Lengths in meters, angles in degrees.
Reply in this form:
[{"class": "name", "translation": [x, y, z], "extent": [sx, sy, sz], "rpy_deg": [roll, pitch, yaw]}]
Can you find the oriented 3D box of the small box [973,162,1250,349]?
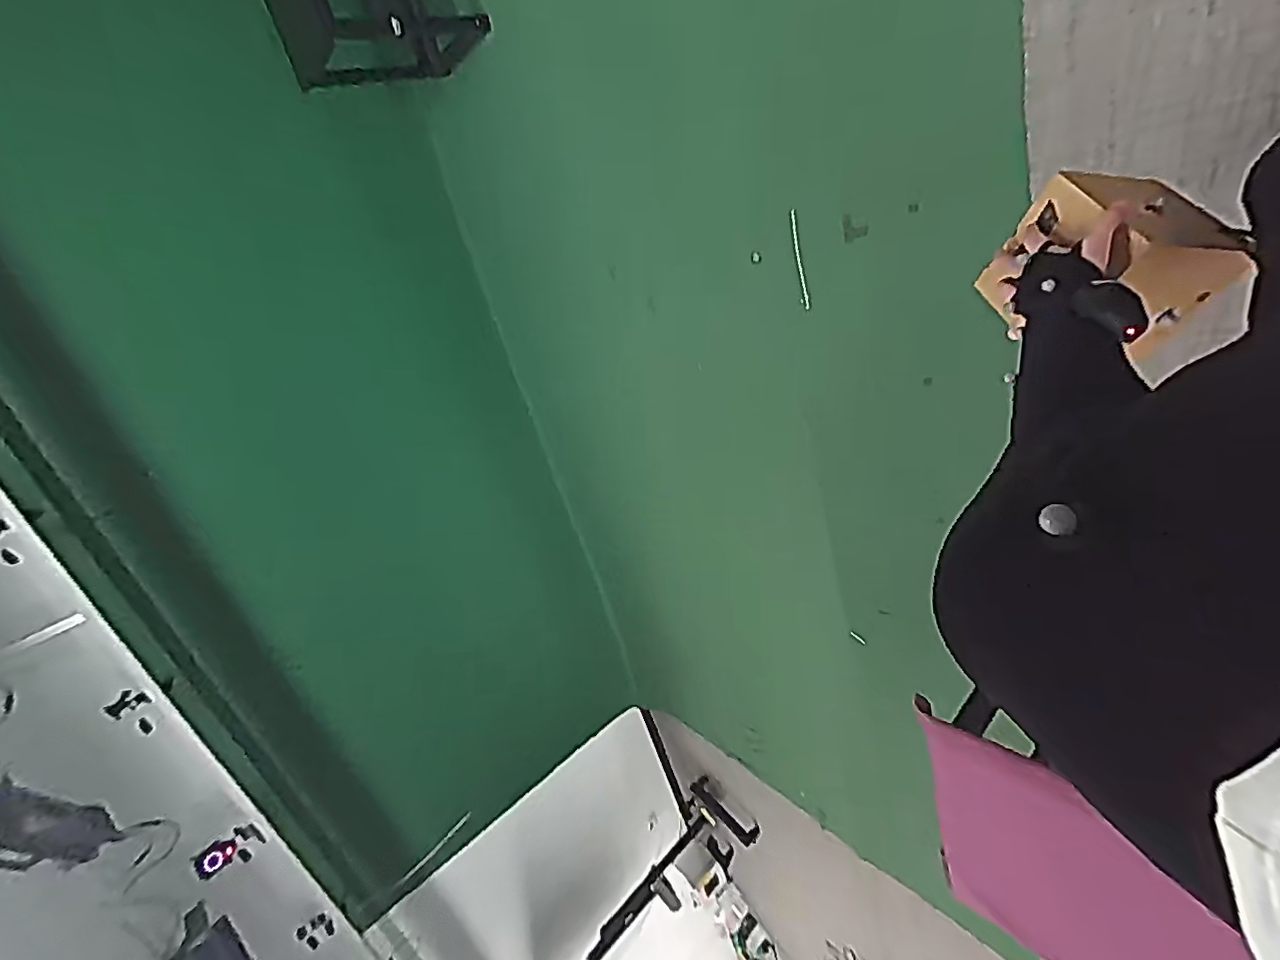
[{"class": "small box", "translation": [0.599, -0.287, 0.709], "extent": [0.168, 0.176, 0.179], "rpy_deg": [102, 161, -51]}]
